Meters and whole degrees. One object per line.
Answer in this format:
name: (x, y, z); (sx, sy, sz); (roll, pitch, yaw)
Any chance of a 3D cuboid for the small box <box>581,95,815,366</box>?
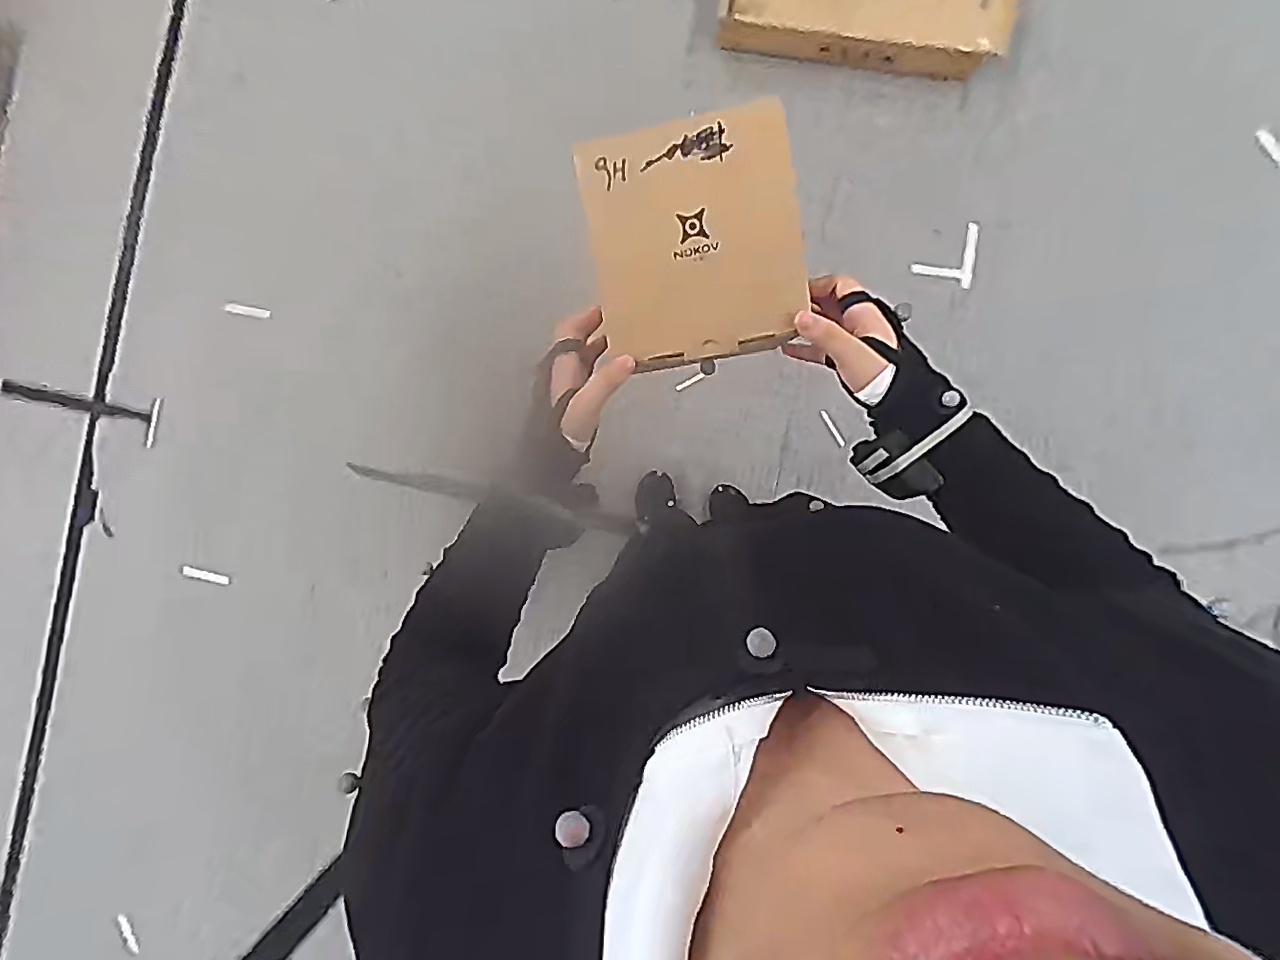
small box: (0.055, -0.206, 0.502); (0.168, 0.176, 0.179); (-9, 100, 6)
